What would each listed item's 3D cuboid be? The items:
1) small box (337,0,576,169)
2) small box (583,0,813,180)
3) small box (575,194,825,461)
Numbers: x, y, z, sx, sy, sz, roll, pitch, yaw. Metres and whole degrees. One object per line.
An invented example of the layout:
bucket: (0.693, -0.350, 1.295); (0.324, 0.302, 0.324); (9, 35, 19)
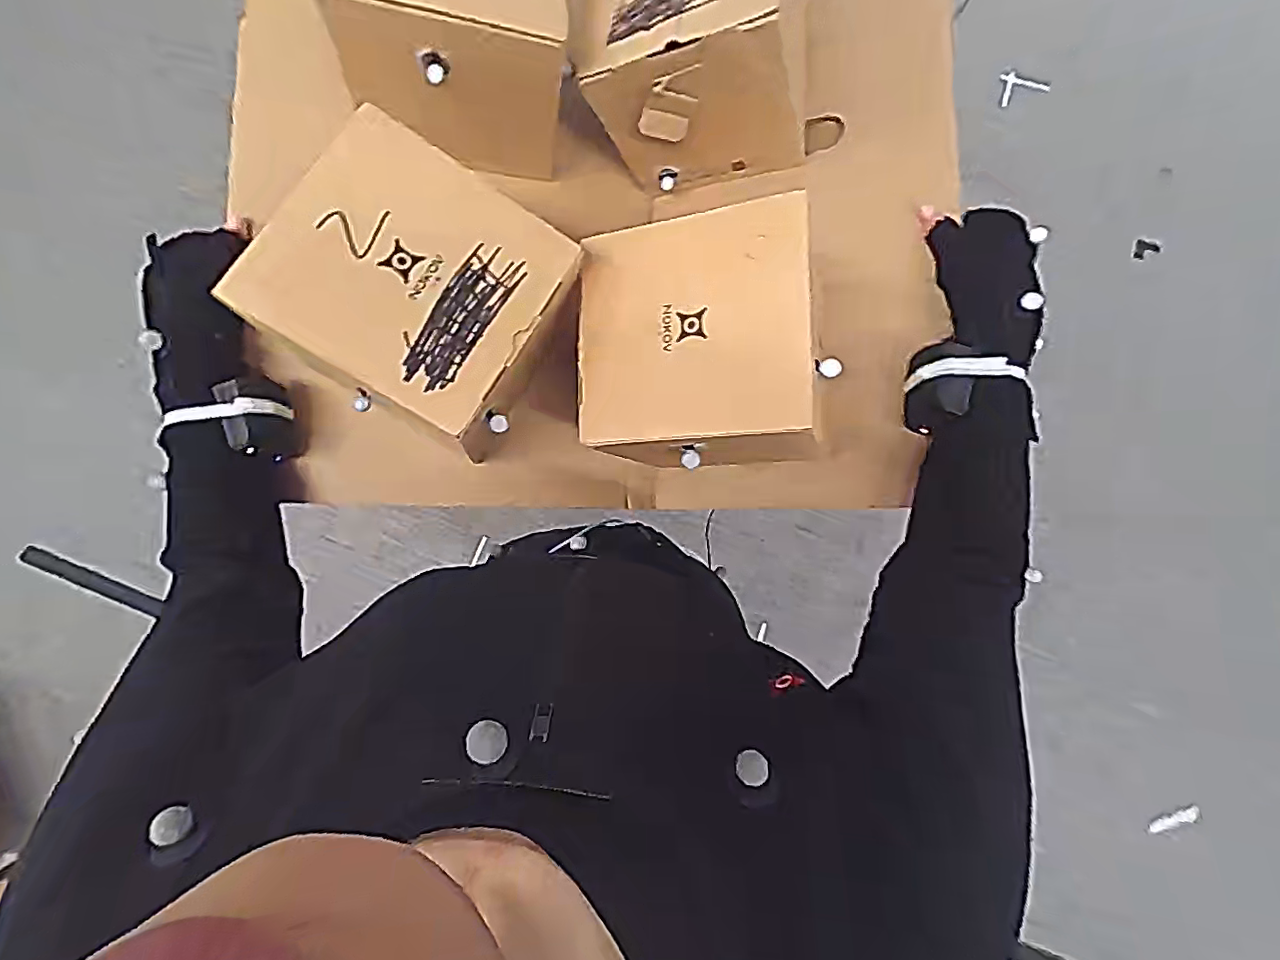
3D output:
small box: (-0.148, -0.405, 0.466); (0.179, 0.176, 0.168); (5, 85, -14)
small box: (0.064, -0.405, 0.493); (0.168, 0.176, 0.179); (2, 84, 22)
small box: (0.063, -0.108, 0.465); (0.179, 0.176, 0.168); (0, 86, 24)
